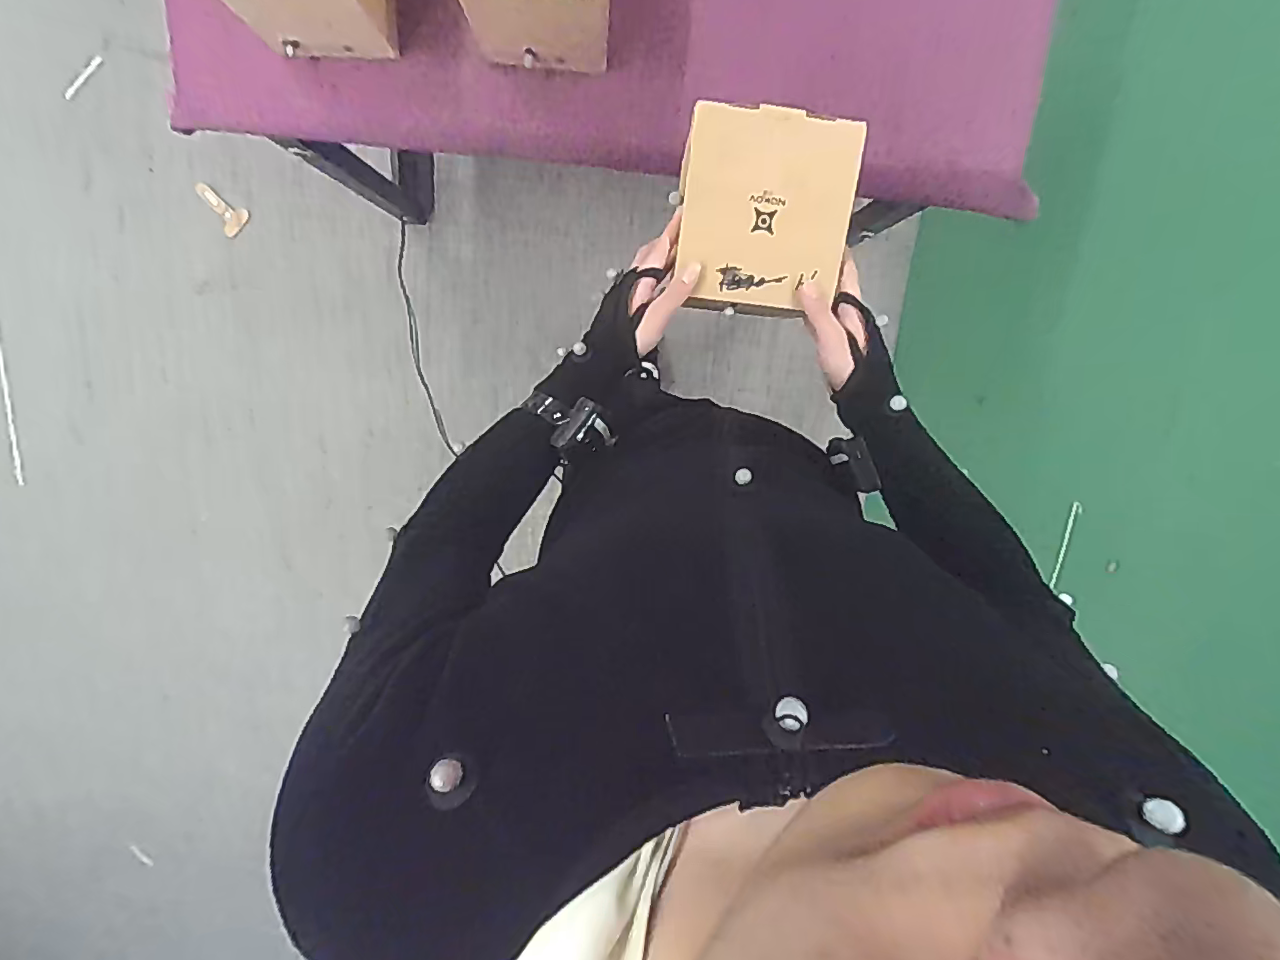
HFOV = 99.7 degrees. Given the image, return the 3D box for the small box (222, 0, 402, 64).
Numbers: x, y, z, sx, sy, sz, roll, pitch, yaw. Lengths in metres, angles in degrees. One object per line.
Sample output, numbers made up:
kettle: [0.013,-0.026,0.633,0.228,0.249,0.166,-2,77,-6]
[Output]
small box: [-0.408,-0.651,0.662,0.168,0.176,0.179,1,100,-1]

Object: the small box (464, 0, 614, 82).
small box: [-0.121,-0.640,0.670,0.168,0.176,0.179,4,103,0]
